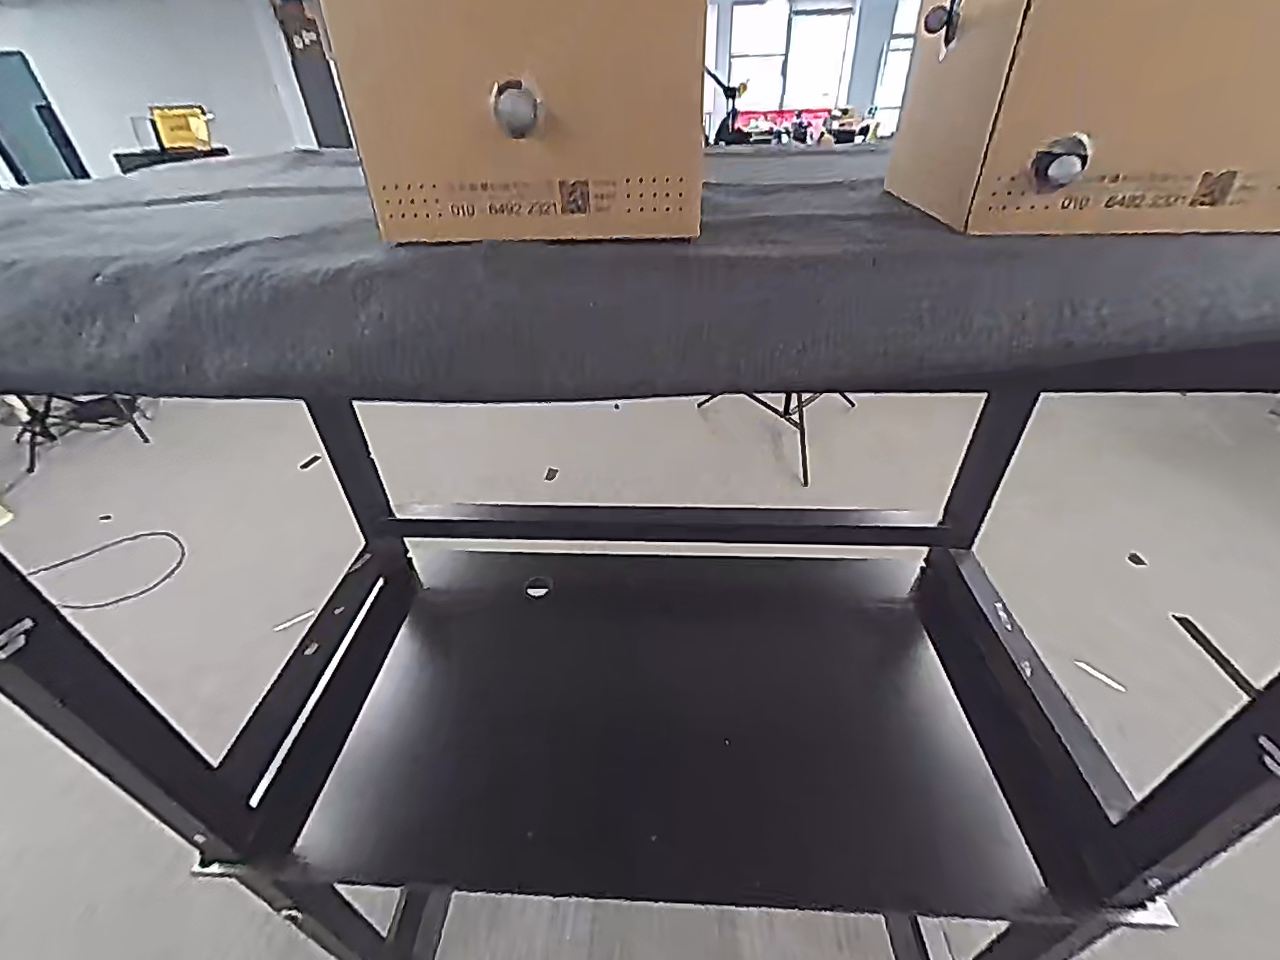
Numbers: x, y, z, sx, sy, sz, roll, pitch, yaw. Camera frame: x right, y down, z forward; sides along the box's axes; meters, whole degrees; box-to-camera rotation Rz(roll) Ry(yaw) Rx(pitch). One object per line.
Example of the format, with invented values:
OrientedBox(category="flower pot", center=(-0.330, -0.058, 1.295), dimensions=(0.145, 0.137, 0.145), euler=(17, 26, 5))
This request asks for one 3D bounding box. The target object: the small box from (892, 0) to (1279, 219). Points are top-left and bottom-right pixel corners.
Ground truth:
OrientedBox(category="small box", center=(0.253, -0.240, 0.286), dimensions=(0.168, 0.176, 0.179), euler=(3, 34, 7))

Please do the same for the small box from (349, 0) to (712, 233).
OrientedBox(category="small box", center=(-0.047, -0.242, 0.301), dimensions=(0.168, 0.176, 0.179), euler=(0, 33, 4))
